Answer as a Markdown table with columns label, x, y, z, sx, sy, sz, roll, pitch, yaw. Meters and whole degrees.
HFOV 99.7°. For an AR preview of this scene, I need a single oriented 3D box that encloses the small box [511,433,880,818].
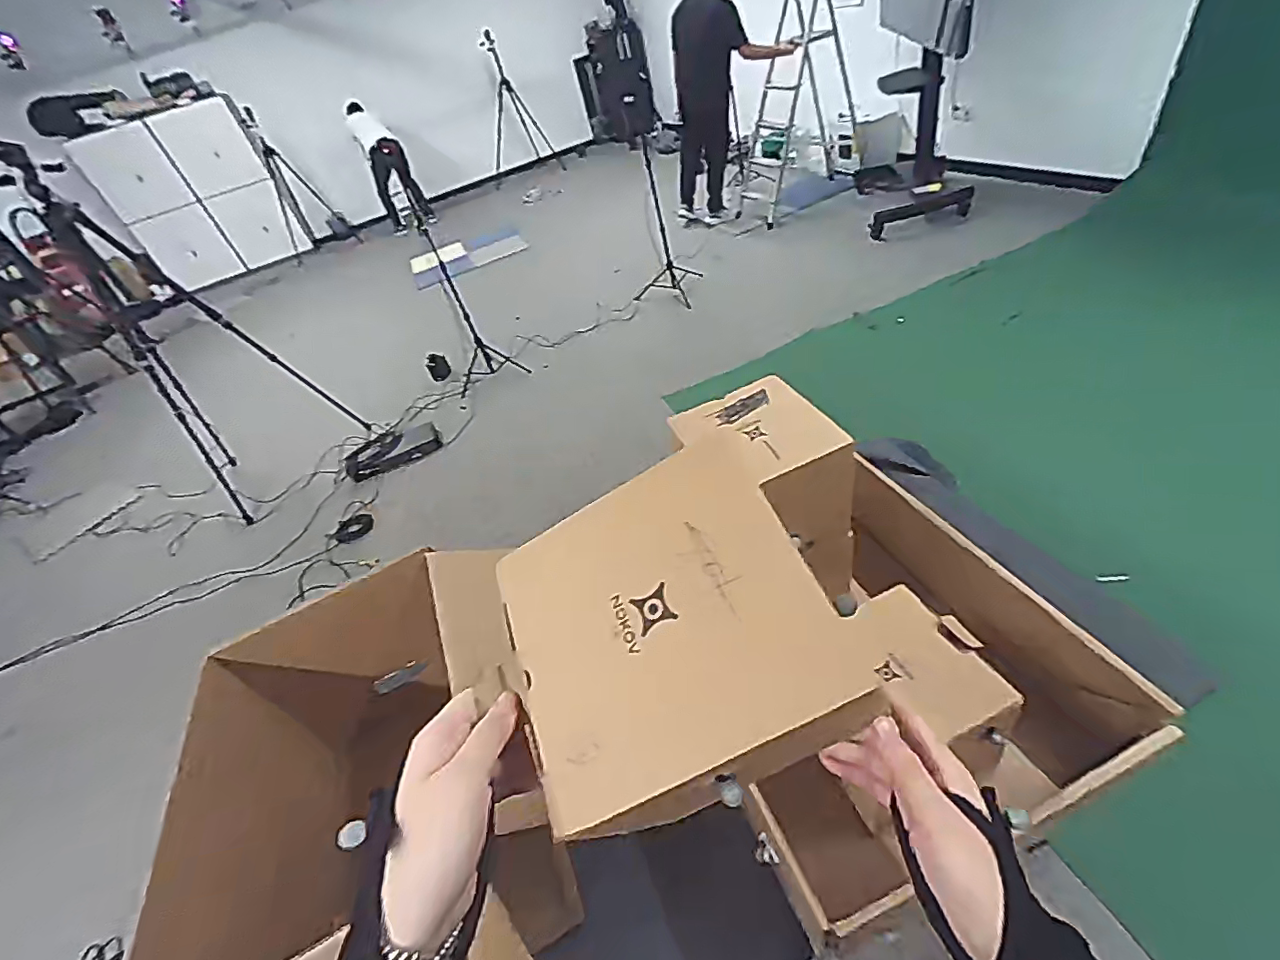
| label | x | y | z | sx | sy | sz | roll | pitch | yaw |
| --- | --- | --- | --- | --- | --- | --- | --- | --- | --- |
| small box | 0.044 | 0.107 | 0.371 | 0.179 | 0.176 | 0.168 | -29 | 56 | 8 |

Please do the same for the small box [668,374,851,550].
| label | x | y | z | sx | sy | sz | roll | pitch | yaw |
| --- | --- | --- | --- | --- | --- | --- | --- | --- | --- |
| small box | 0.153 | -0.006 | 0.719 | 0.168 | 0.176 | 0.179 | -23 | 44 | -7 |
